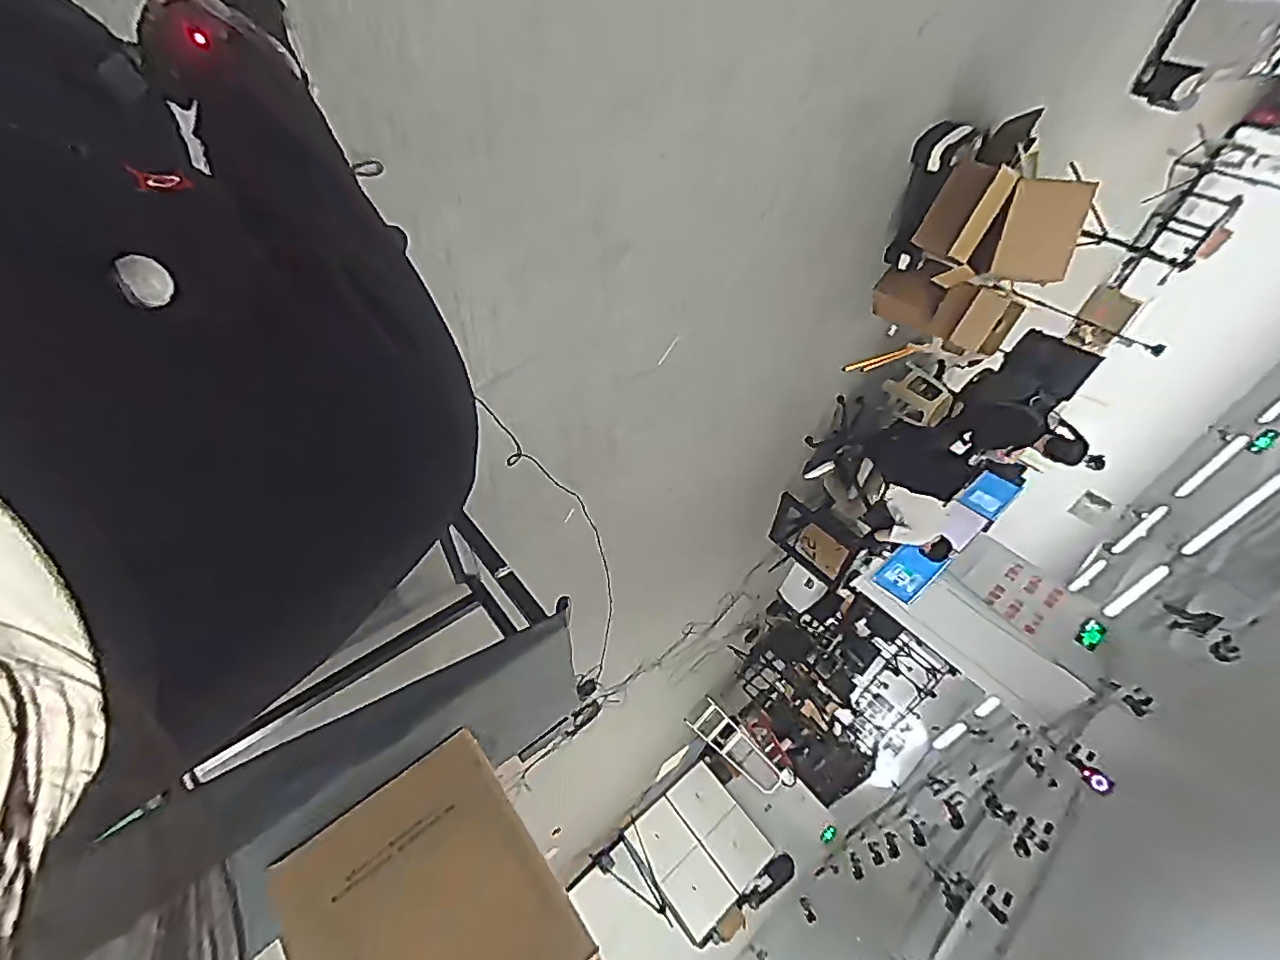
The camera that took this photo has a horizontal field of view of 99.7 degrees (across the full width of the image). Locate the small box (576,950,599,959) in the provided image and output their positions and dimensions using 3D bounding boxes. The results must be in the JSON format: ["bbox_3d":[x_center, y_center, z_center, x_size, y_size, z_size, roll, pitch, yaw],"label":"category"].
[{"bbox_3d":[-0.127,1.193,1.200,0.168,0.176,0.179,-36,146,-24],"label":"small box"}]
